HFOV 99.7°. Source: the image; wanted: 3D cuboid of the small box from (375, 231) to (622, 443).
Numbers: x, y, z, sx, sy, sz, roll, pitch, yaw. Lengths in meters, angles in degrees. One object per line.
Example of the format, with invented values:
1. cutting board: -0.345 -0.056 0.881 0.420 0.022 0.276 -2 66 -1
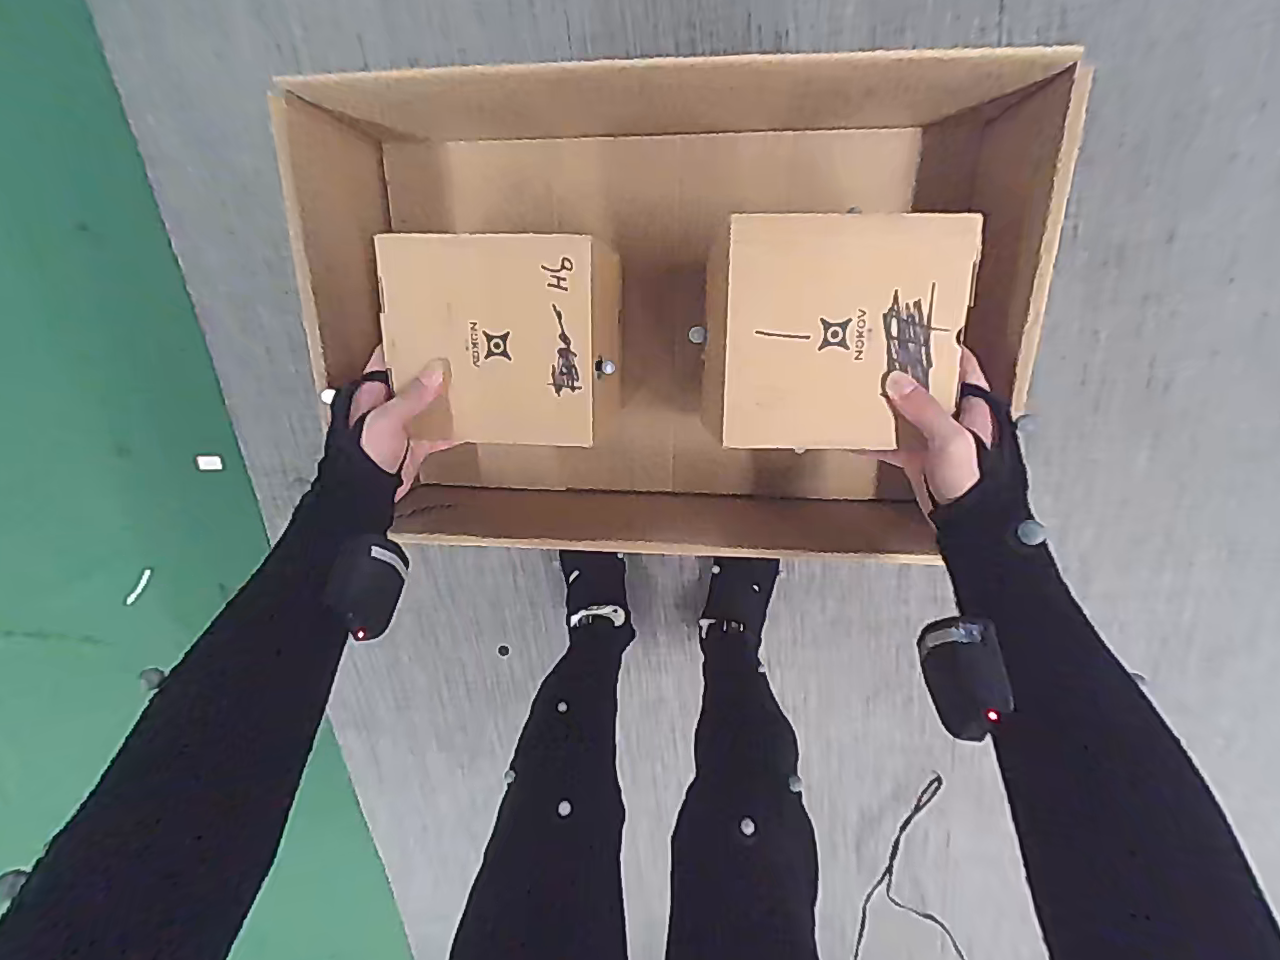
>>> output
1. small box: -0.119 -0.136 0.519 0.179 0.176 0.168 3 107 6
